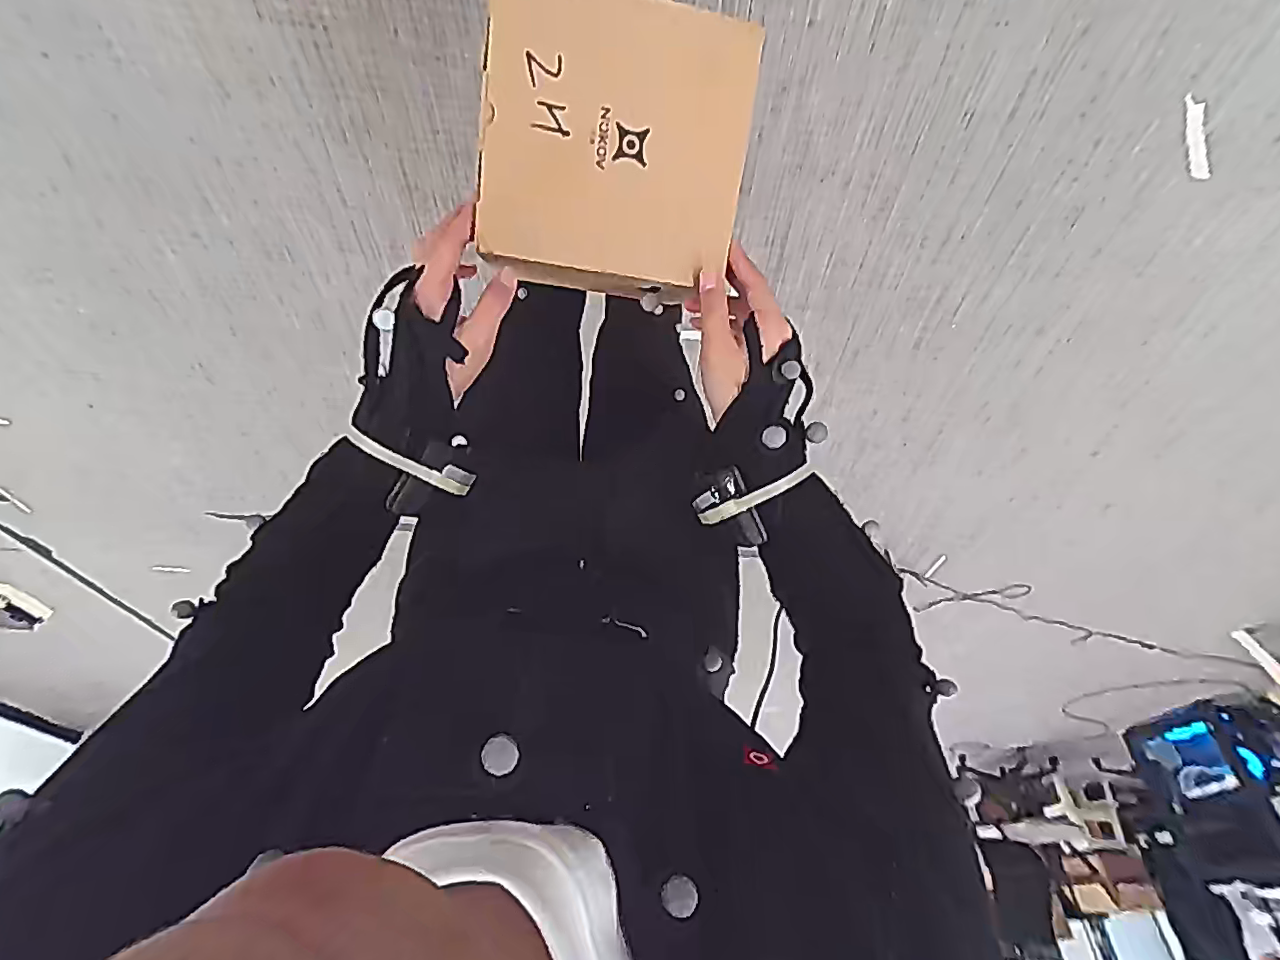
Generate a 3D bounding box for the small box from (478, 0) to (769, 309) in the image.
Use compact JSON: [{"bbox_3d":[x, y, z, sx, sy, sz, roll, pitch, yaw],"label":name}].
[{"bbox_3d":[-0.024,-0.233,0.429,0.179,0.176,0.168,5,103,-10],"label":"small box"}]
